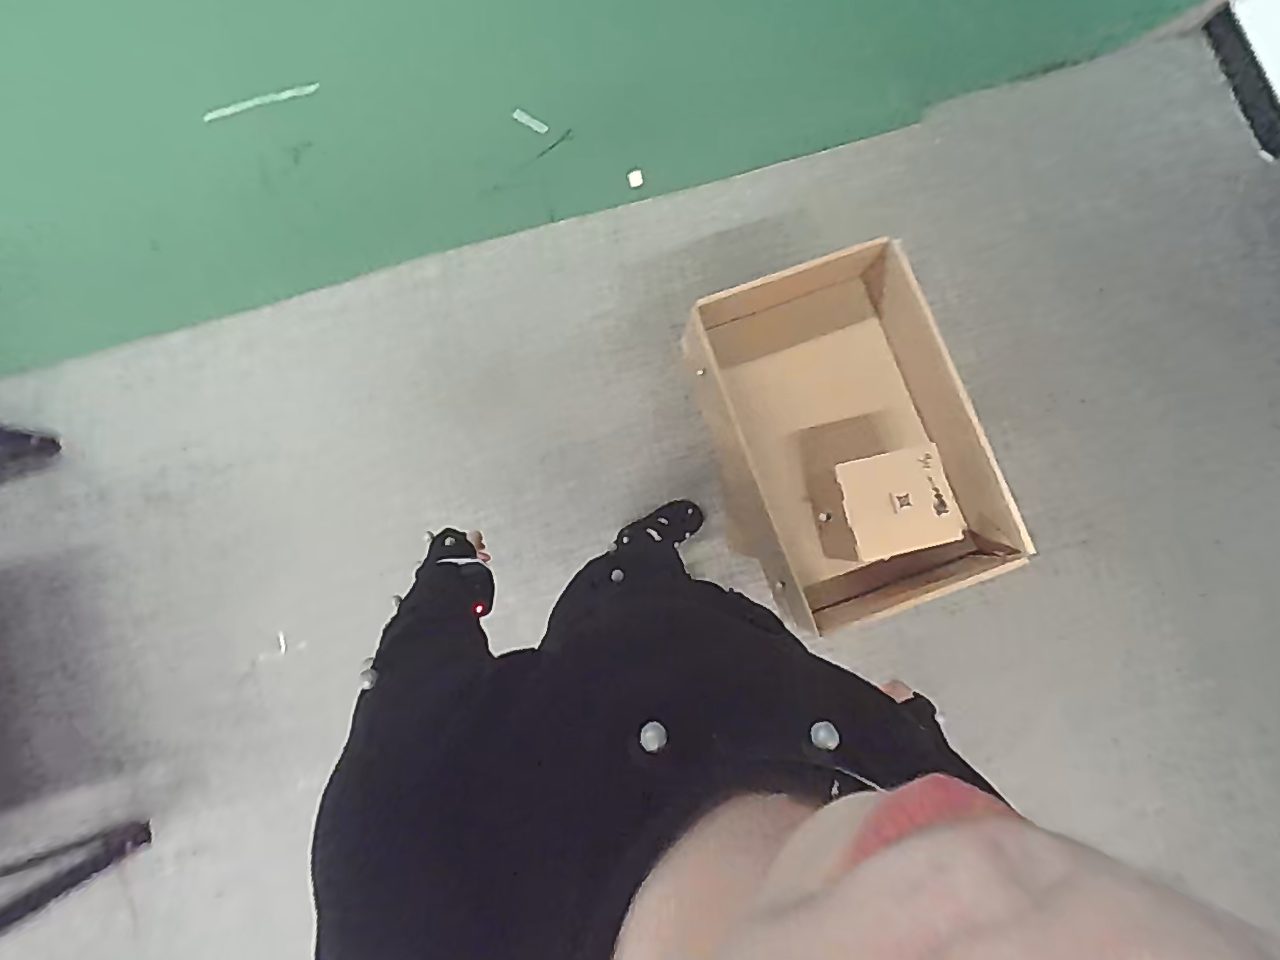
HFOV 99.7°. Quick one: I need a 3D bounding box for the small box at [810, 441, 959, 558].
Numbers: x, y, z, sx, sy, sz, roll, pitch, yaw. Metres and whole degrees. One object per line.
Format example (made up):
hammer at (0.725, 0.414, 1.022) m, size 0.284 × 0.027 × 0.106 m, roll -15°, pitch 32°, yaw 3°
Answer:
small box at (0.417, 0.040, 0.961) m, size 0.179 × 0.176 × 0.168 m, roll -13°, pitch 85°, yaw 0°
